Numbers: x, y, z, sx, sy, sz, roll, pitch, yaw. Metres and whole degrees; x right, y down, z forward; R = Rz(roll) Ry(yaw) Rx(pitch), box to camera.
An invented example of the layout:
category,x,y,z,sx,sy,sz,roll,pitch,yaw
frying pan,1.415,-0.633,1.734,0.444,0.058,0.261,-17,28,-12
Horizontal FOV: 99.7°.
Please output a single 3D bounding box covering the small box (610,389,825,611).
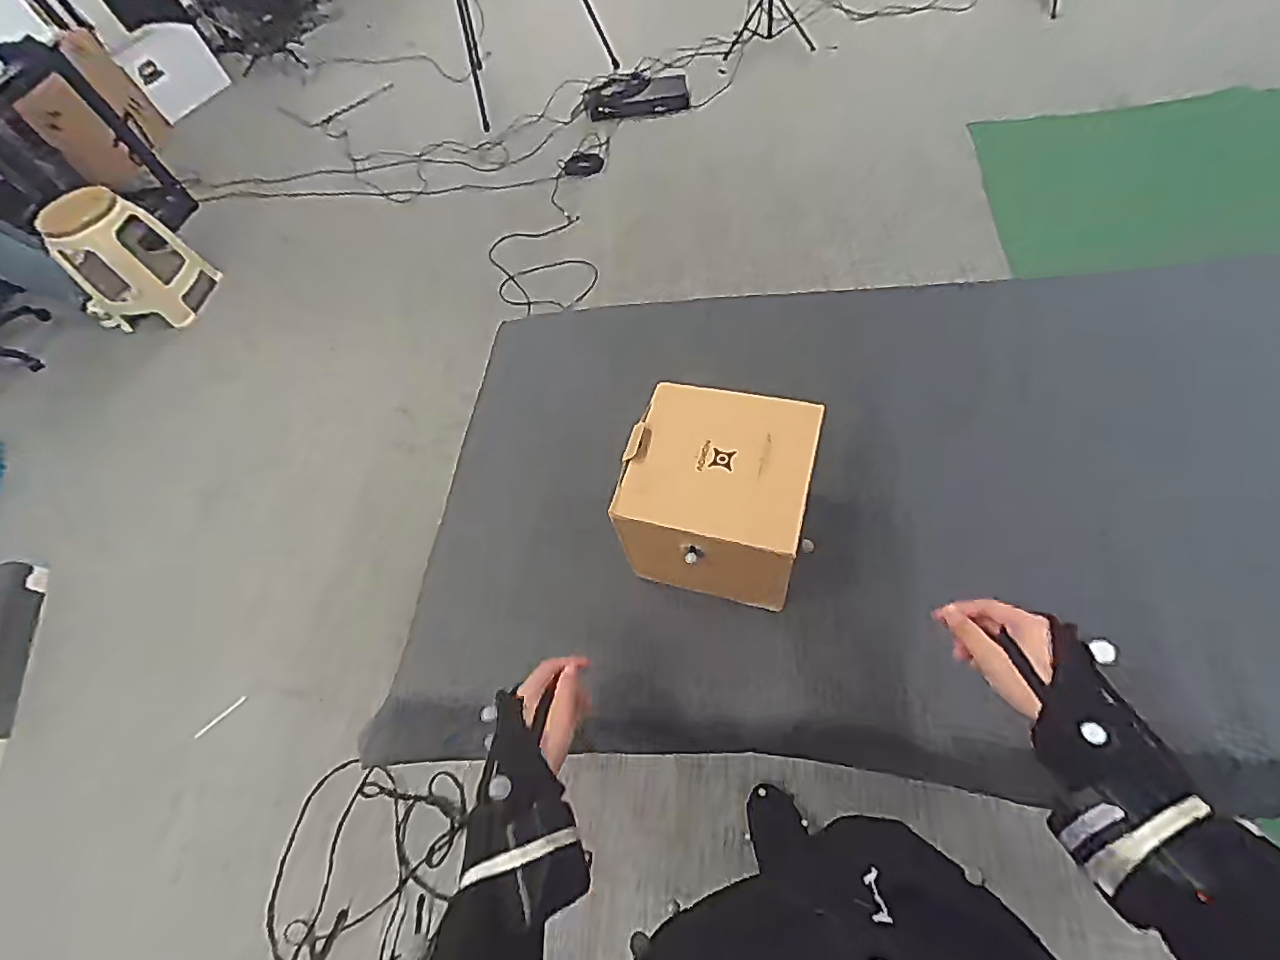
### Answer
category,x,y,z,sx,sy,sz,roll,pitch,yaw
small box,0.089,0.027,0.587,0.179,0.176,0.168,11,62,16
